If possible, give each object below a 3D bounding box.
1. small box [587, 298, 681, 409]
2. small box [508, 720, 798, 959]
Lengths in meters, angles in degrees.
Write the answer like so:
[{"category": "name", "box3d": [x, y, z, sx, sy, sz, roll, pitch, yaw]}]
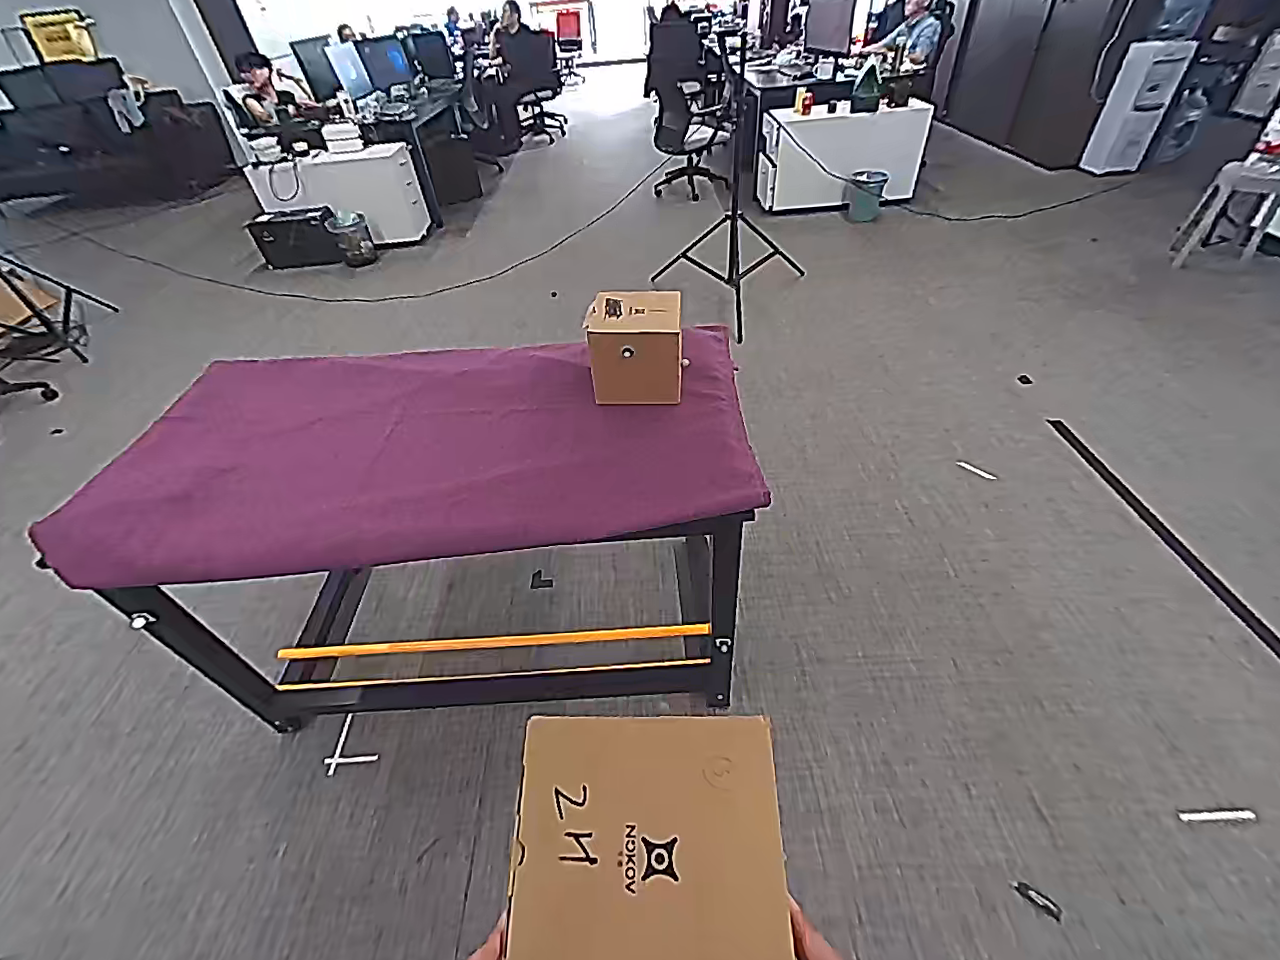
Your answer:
[{"category": "small box", "box3d": [-0.004, -0.261, 1.122, 0.179, 0.176, 0.168, 1, 45, 5]}, {"category": "small box", "box3d": [0.012, 0.284, 0.415, 0.179, 0.176, 0.168, -1, 58, 4]}]
